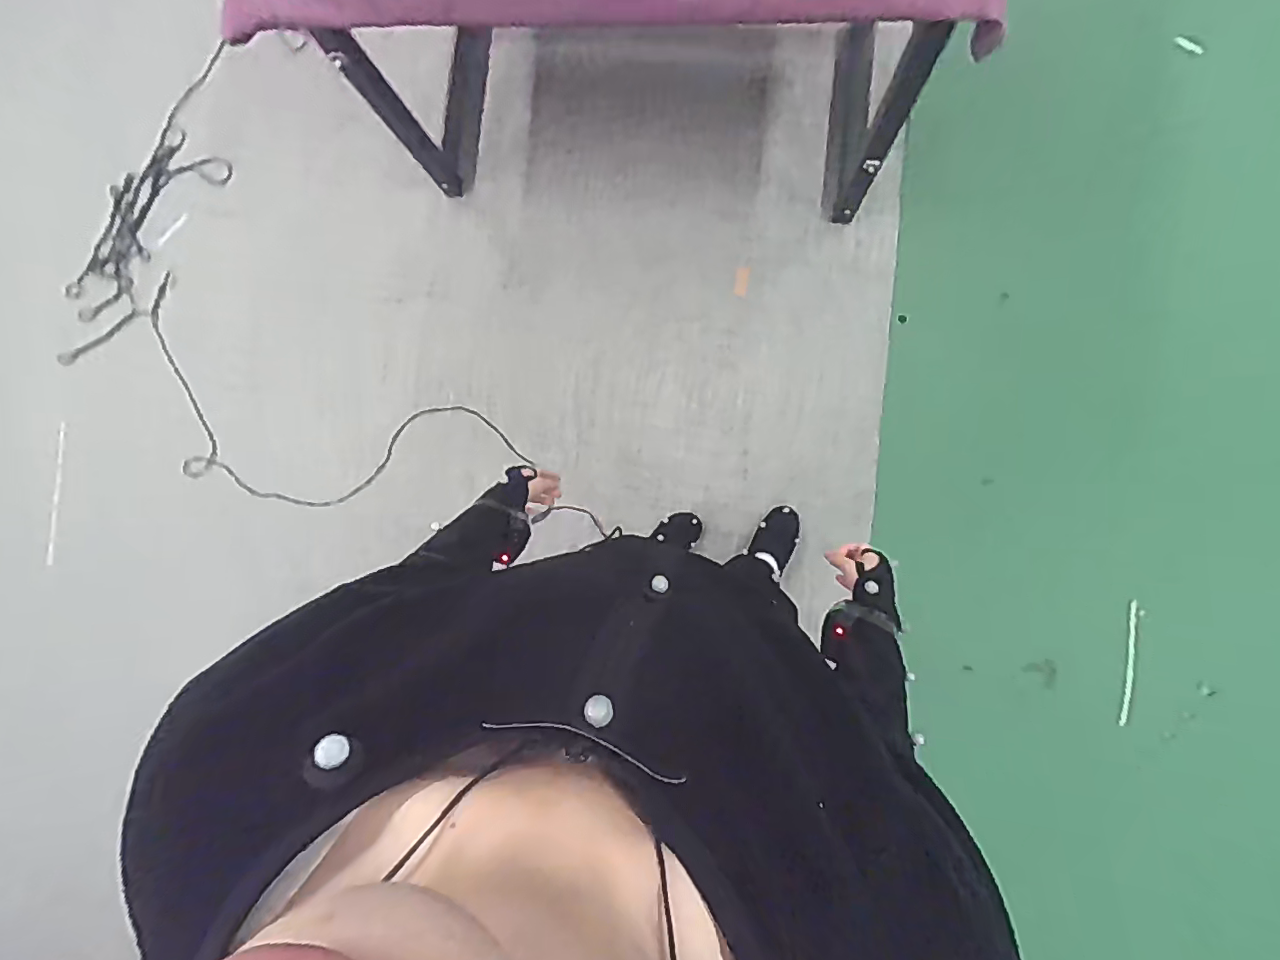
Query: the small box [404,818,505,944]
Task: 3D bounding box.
[{"bbox_3d":[-0.422,0.920,1.253,0.168,0.176,0.179,-5,87,5],"label":"small box"}]
